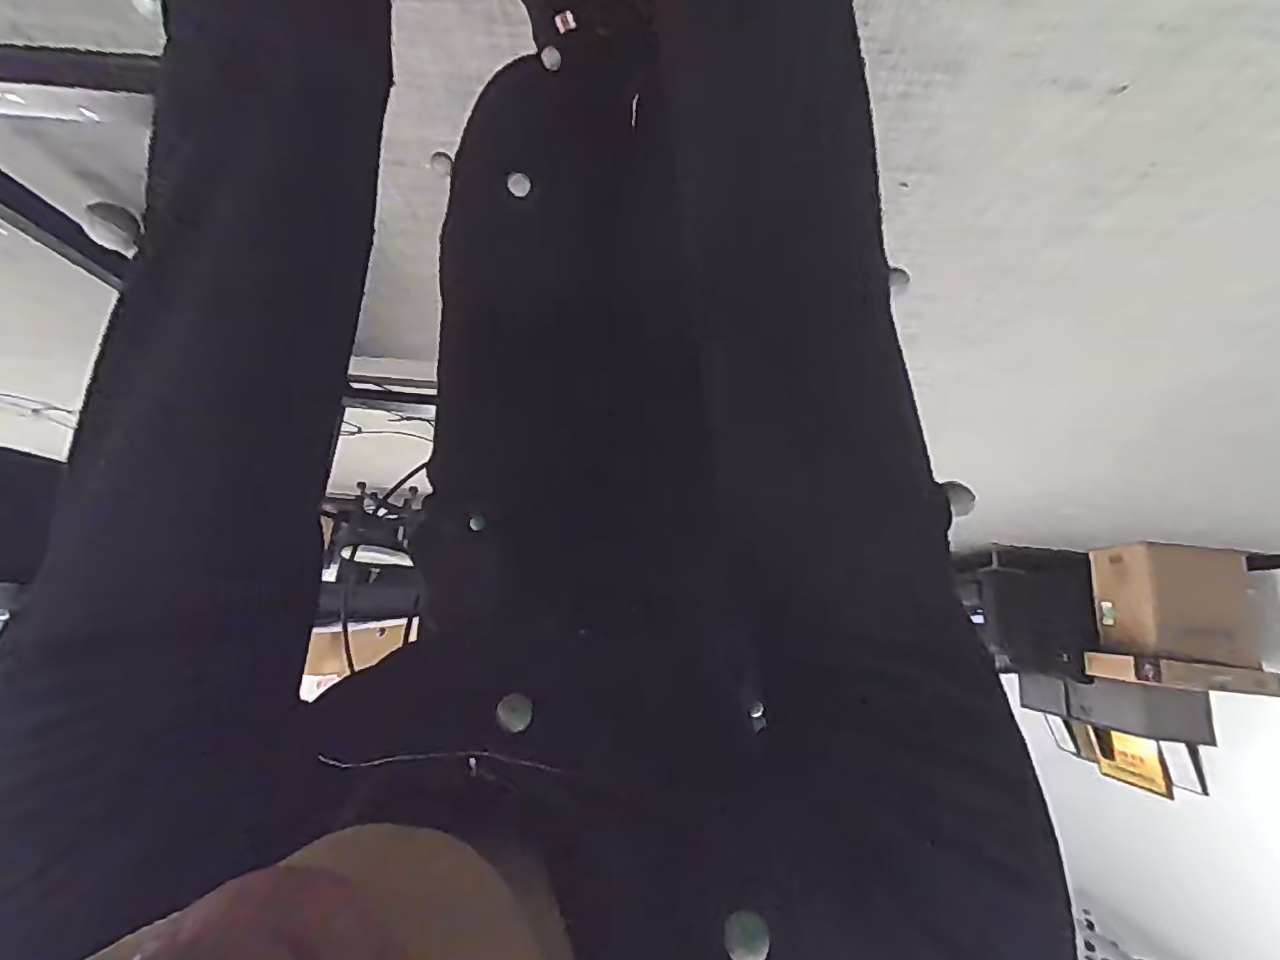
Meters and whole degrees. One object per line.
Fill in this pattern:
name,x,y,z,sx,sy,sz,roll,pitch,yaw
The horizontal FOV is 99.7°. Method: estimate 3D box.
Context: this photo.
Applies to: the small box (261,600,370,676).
small box,-0.851,0.416,1.439,0.168,0.176,0.179,5,165,5
